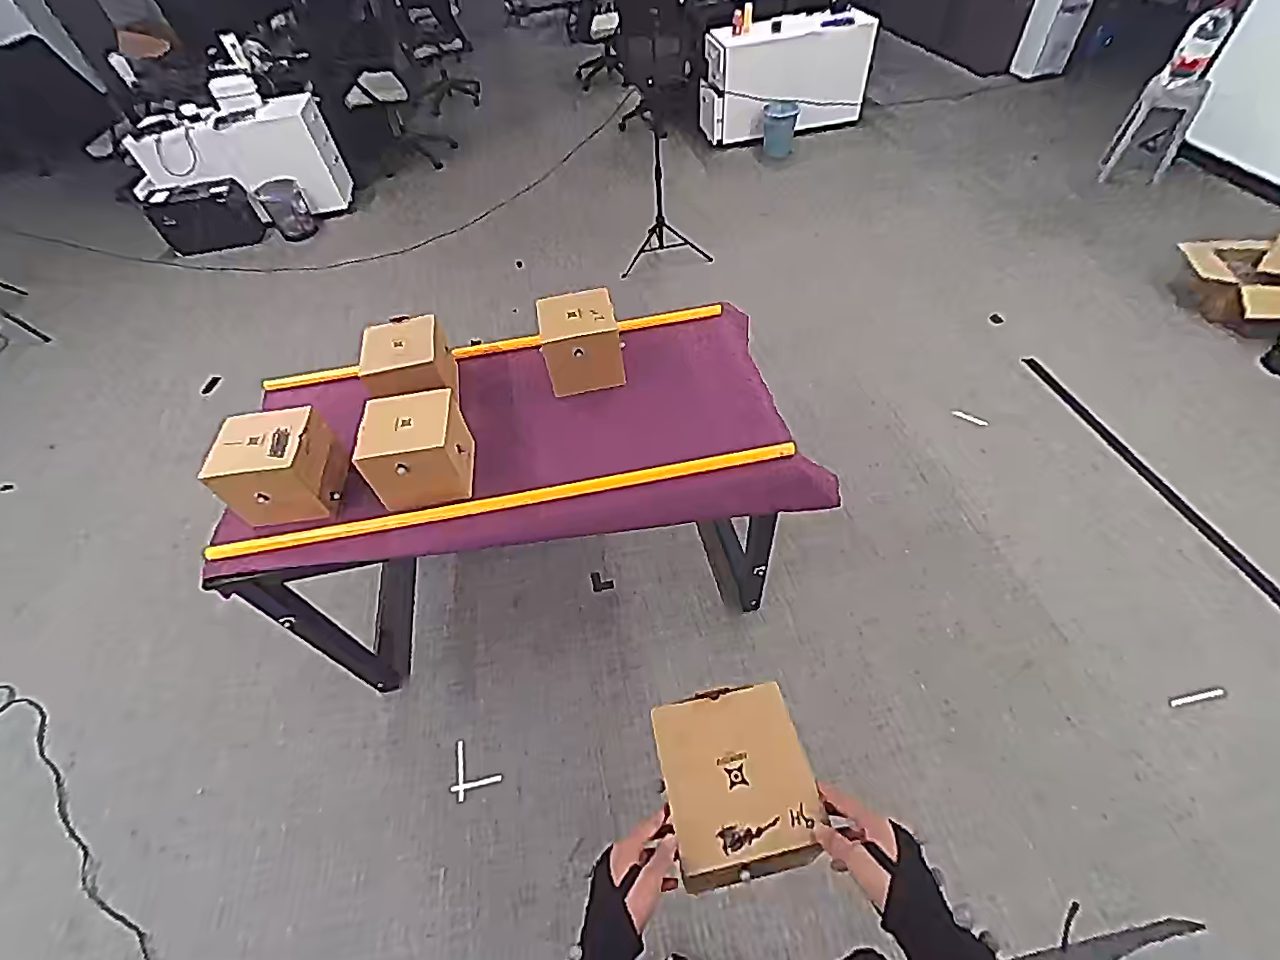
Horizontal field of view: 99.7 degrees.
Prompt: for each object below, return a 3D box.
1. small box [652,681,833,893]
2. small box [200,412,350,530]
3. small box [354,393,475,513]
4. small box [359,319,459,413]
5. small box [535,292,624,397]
[{"bbox_3d":[0.112,0.381,0.671,0.168,0.176,0.179,-11,48,-4],"label":"small box"},{"bbox_3d":[-0.732,-0.014,1.111,0.179,0.176,0.168,-8,51,-1],"label":"small box"},{"bbox_3d":[-0.452,-0.052,1.117,0.179,0.176,0.168,-10,51,-1],"label":"small box"},{"bbox_3d":[-0.537,-0.249,1.281,0.168,0.176,0.179,-14,53,-4],"label":"small box"},{"bbox_3d":[-0.142,-0.318,1.294,0.179,0.176,0.168,-11,53,-3],"label":"small box"}]
